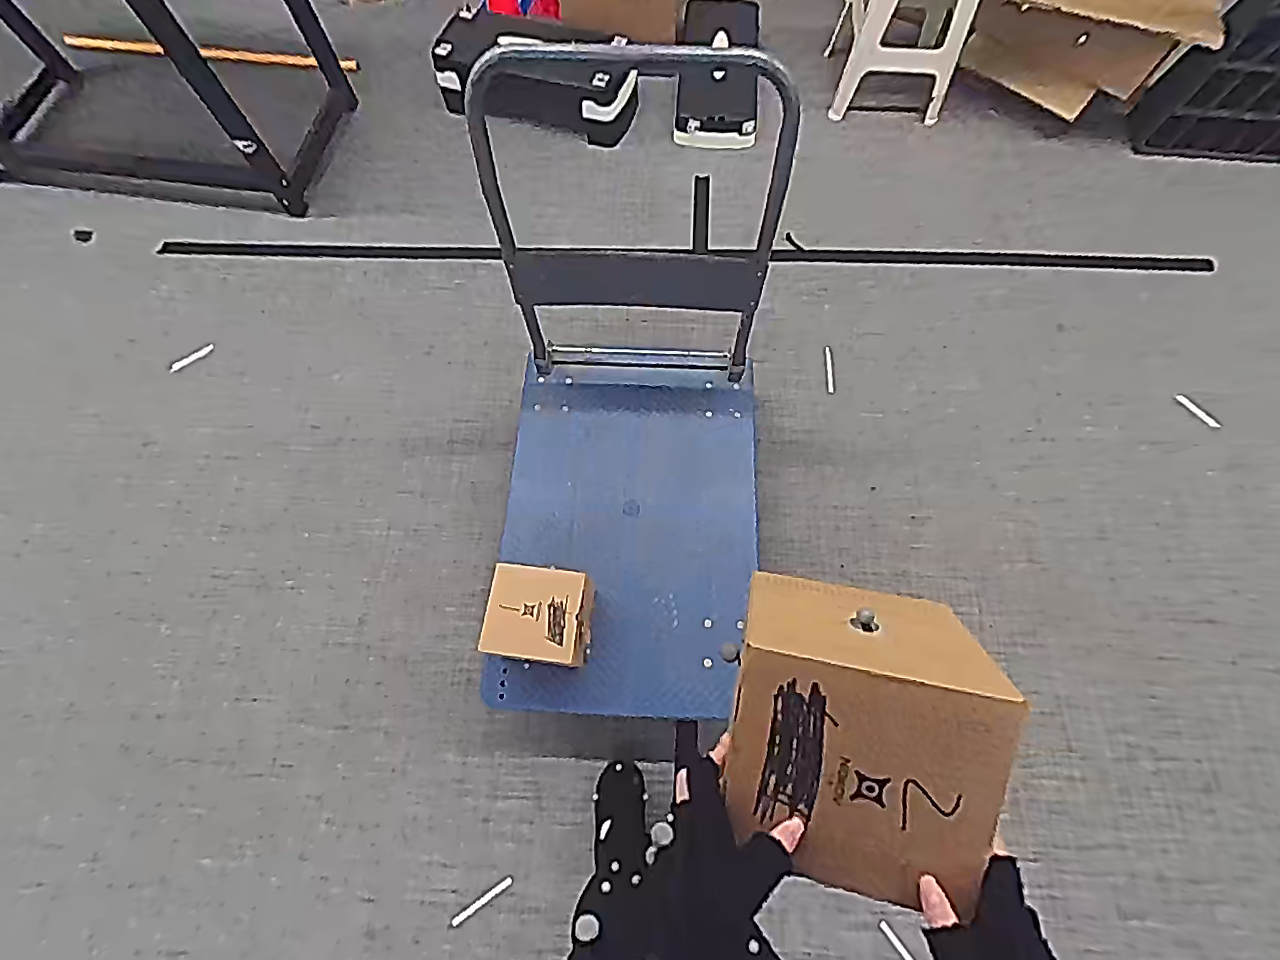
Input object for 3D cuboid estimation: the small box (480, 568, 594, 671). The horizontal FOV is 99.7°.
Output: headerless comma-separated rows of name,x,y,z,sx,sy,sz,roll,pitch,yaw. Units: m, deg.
small box,-0.190,0.280,1.064,0.179,0.176,0.168,6,69,4
